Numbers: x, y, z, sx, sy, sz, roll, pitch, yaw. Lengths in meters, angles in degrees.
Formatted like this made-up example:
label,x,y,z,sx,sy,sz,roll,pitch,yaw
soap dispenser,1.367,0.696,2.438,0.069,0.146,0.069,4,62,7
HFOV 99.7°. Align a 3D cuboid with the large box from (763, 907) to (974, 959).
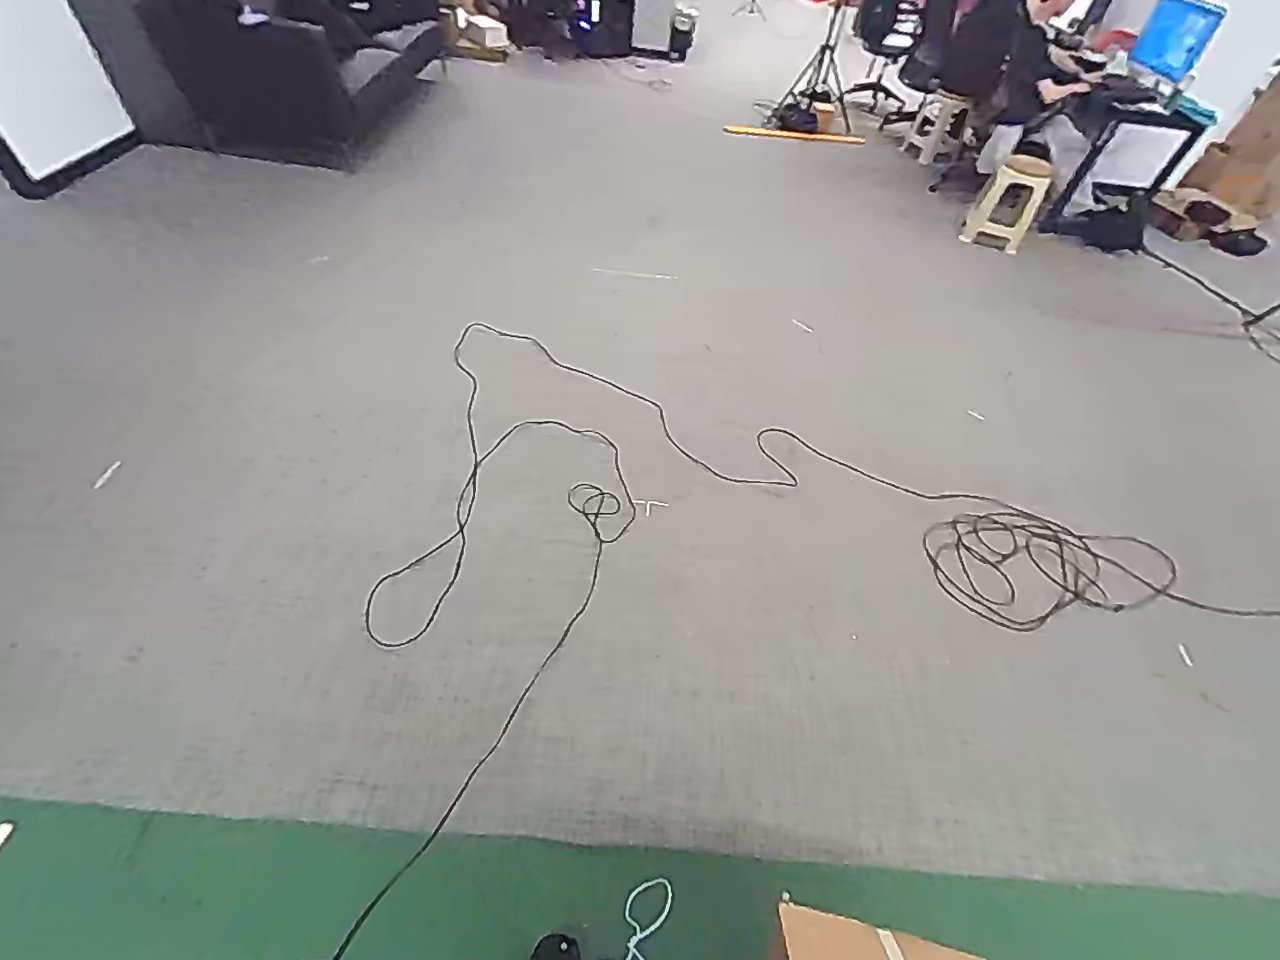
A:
label,x,y,z,sx,sy,sz,roll,pitch,yaw
large box,0.310,0.826,0.621,0.320,0.408,0.320,13,89,5
